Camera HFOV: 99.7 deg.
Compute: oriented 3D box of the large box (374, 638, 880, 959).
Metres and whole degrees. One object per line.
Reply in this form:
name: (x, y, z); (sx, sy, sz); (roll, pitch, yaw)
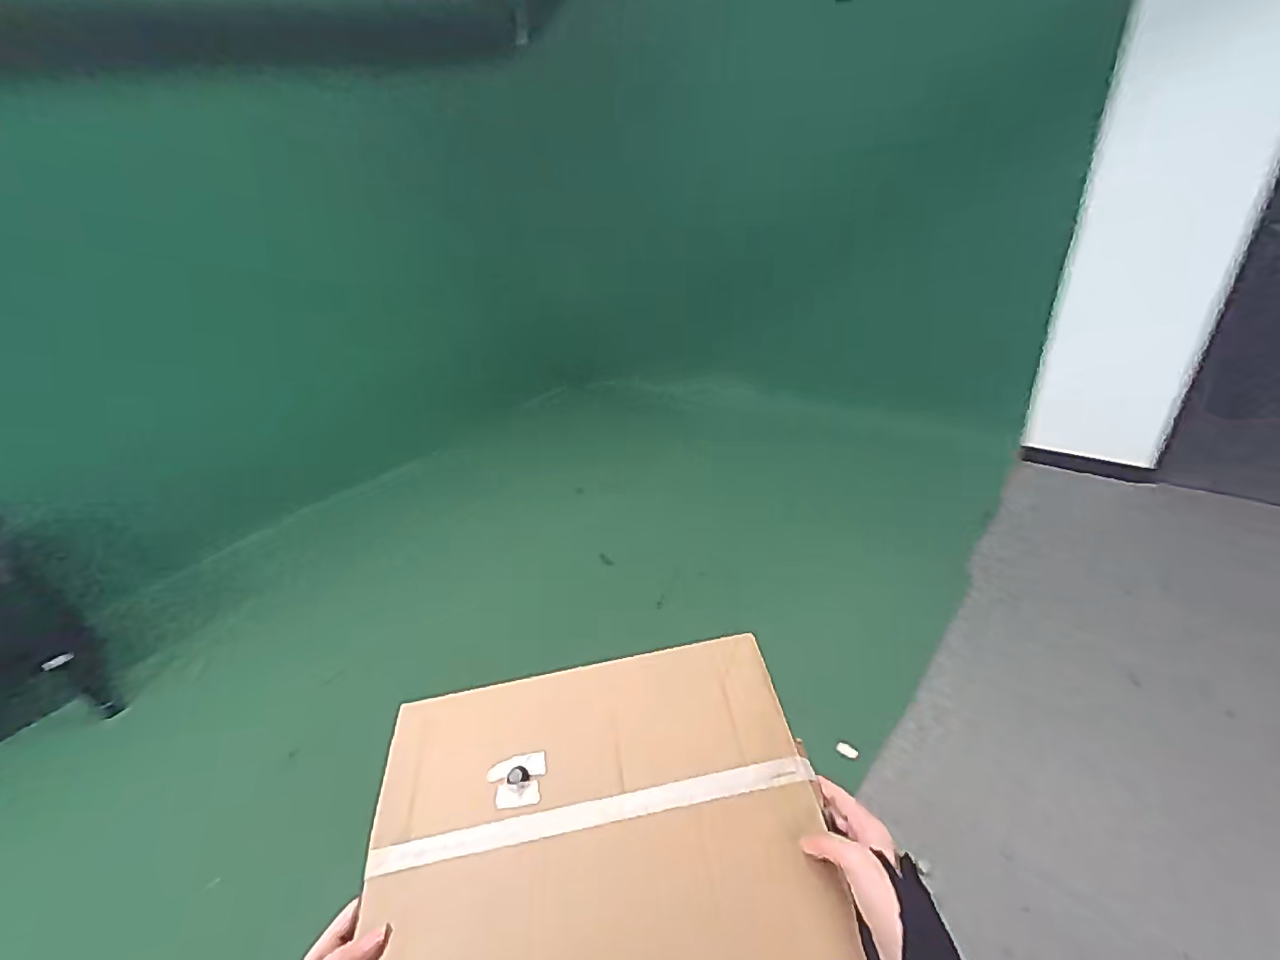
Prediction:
large box: (-0.011, 0.428, 0.595); (0.408, 0.320, 0.320); (-12, 38, 0)
